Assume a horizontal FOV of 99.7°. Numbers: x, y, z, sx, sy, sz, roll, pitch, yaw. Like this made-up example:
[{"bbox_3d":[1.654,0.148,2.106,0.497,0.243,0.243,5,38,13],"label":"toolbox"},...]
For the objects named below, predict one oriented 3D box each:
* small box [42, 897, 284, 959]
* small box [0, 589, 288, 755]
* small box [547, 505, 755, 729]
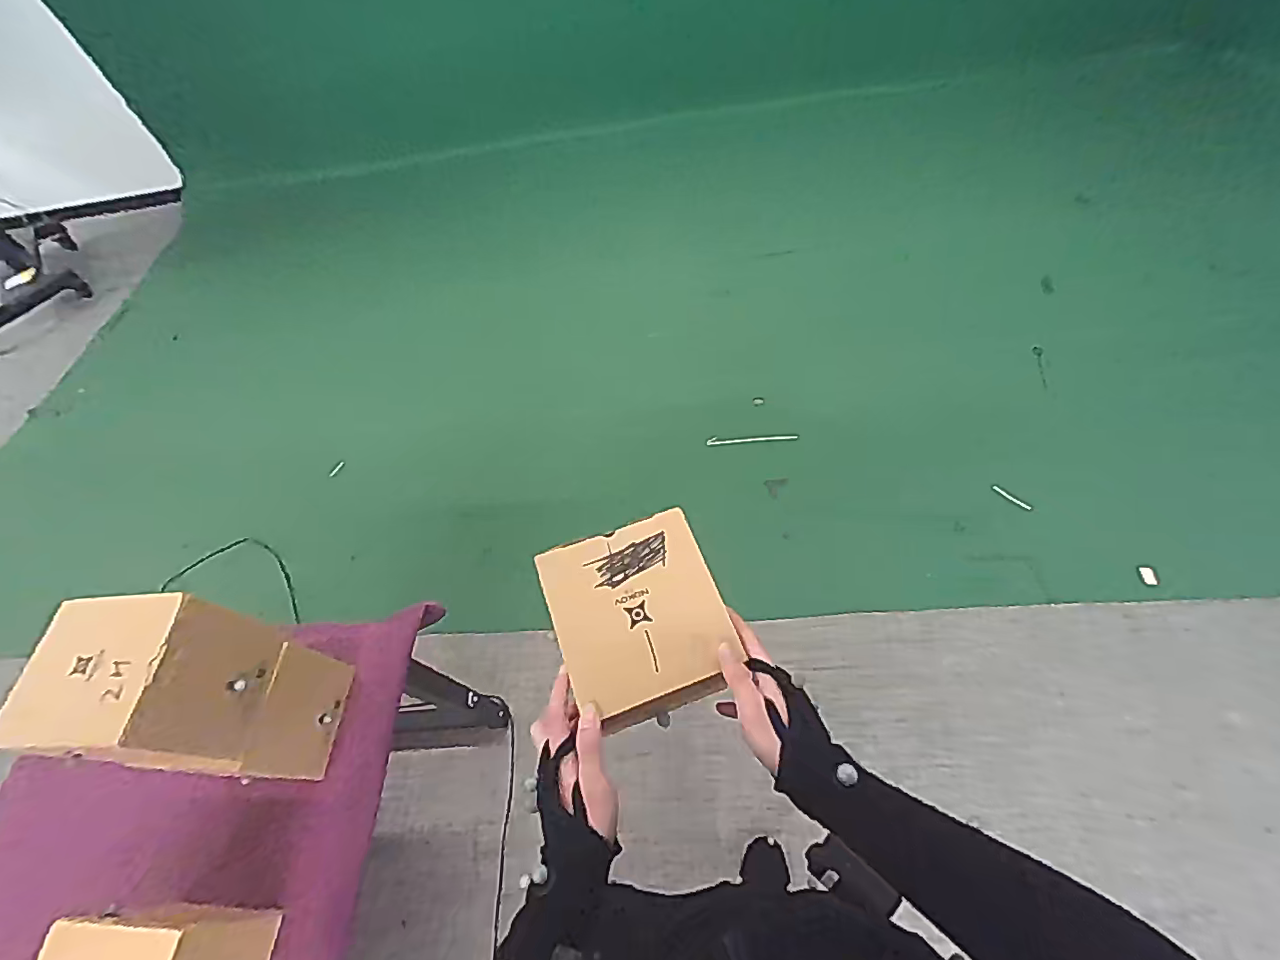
[{"bbox_3d":[-0.576,0.610,0.642,0.179,0.176,0.168,-4,57,9],"label":"small box"},{"bbox_3d":[-0.598,0.246,0.677,0.179,0.176,0.168,-4,58,8],"label":"small box"},{"bbox_3d":[0.006,0.158,0.603,0.168,0.176,0.179,-18,63,-8],"label":"small box"}]
